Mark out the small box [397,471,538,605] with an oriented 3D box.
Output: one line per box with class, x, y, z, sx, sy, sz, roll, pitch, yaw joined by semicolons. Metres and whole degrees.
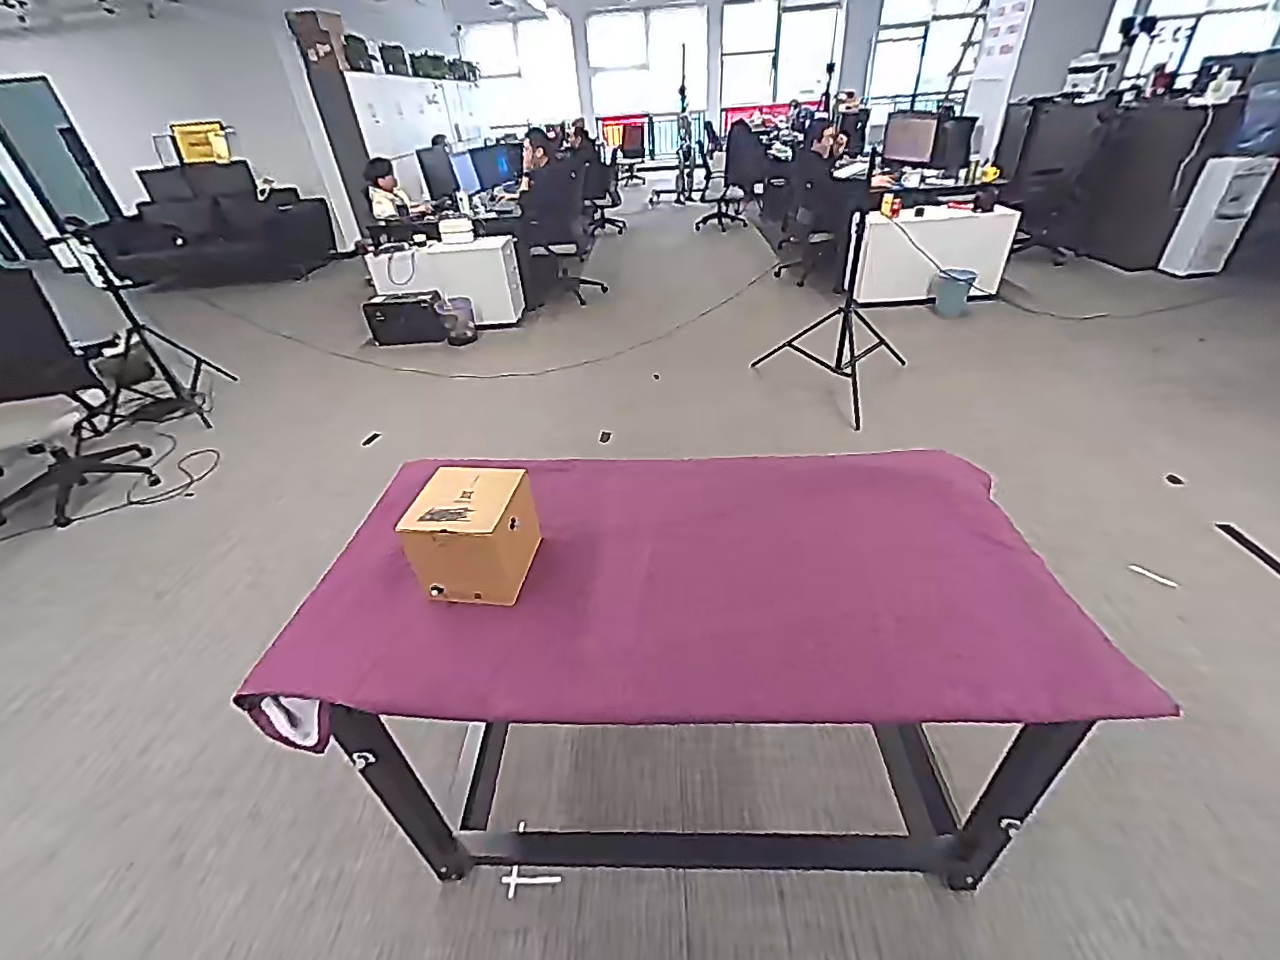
small box;-0.290;0.101;0.959;0.168;0.176;0.179;2;36;8
